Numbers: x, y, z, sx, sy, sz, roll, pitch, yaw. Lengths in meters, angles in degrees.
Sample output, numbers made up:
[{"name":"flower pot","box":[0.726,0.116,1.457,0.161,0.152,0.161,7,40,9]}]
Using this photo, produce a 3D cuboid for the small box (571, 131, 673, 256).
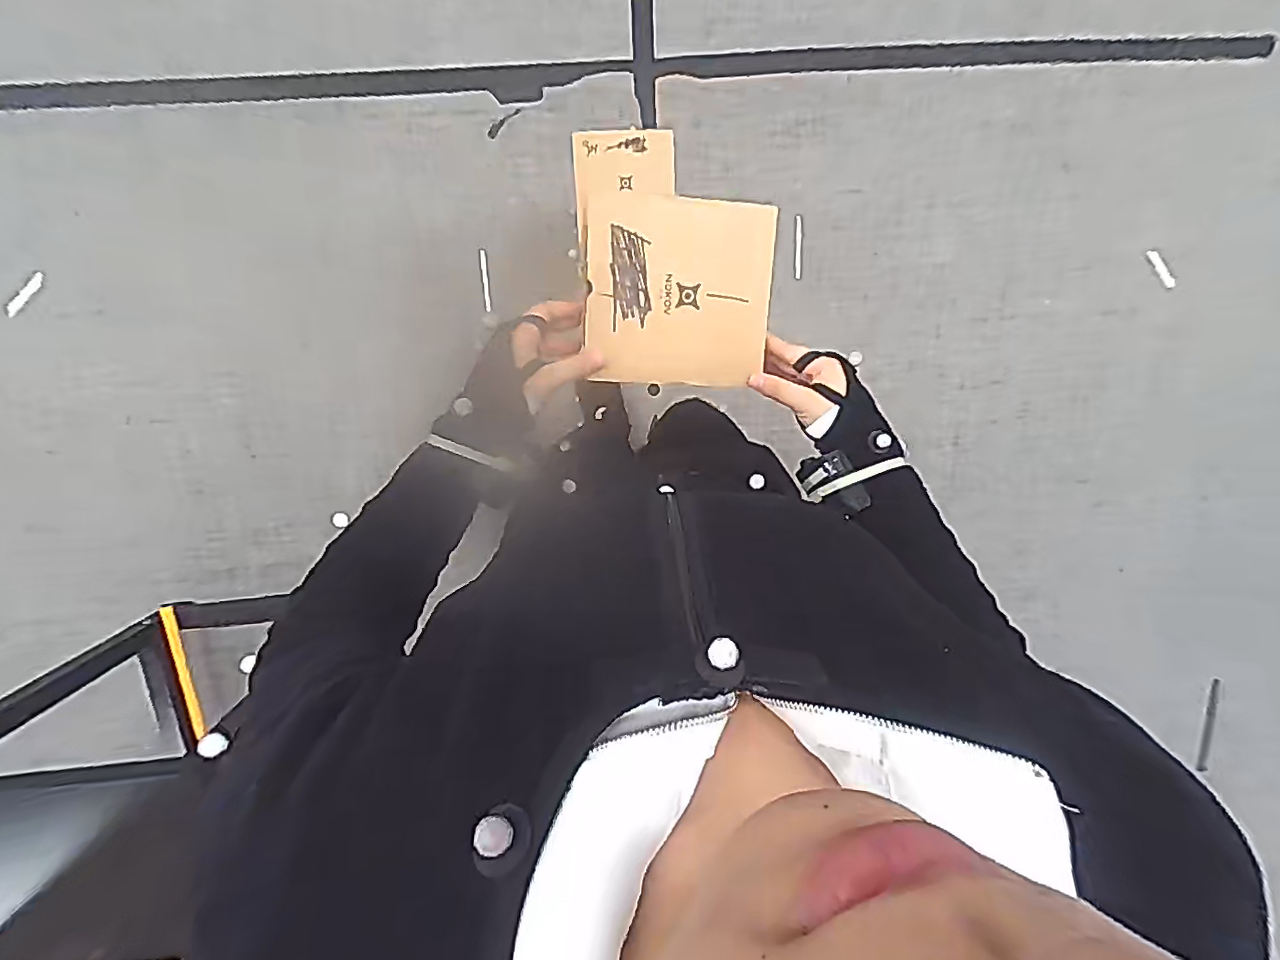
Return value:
[{"name":"small box","box":[-0.031,-0.490,0.958,0.168,0.176,0.179,-3,104,-3]}]

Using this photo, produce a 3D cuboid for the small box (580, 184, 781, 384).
[{"name":"small box","box":[0.027,-0.191,0.568,0.179,0.176,0.168,1,103,-8]}]
